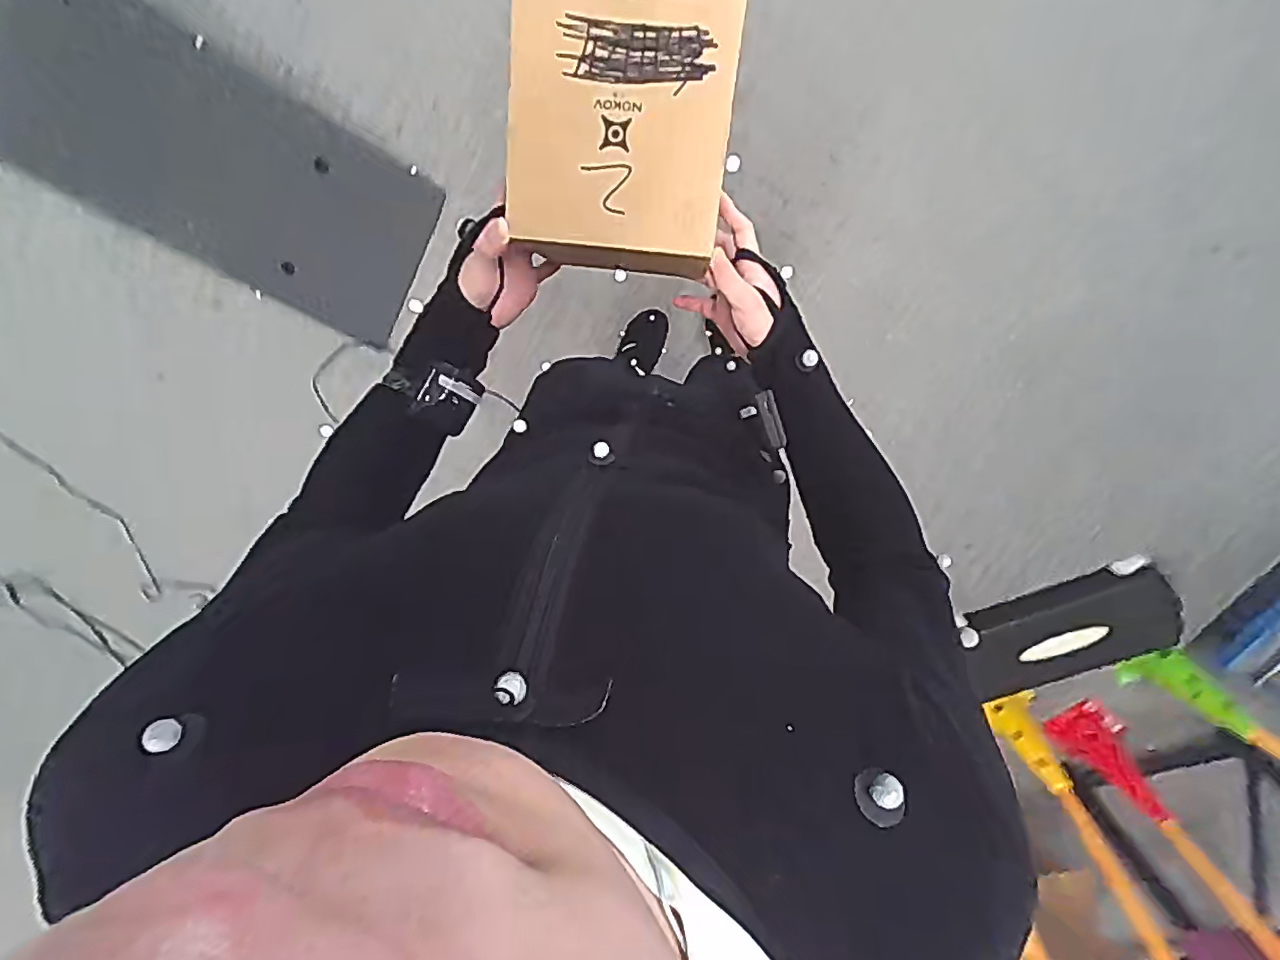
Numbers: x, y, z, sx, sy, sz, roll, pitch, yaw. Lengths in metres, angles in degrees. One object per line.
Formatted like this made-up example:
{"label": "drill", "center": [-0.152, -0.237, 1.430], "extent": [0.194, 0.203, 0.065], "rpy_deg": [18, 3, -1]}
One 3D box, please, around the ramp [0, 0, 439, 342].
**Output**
{"label": "ramp", "center": [-1.068, -0.805, 1.354], "extent": [0.991, 0.206, 0.509], "rpy_deg": [29, 108, -7]}
